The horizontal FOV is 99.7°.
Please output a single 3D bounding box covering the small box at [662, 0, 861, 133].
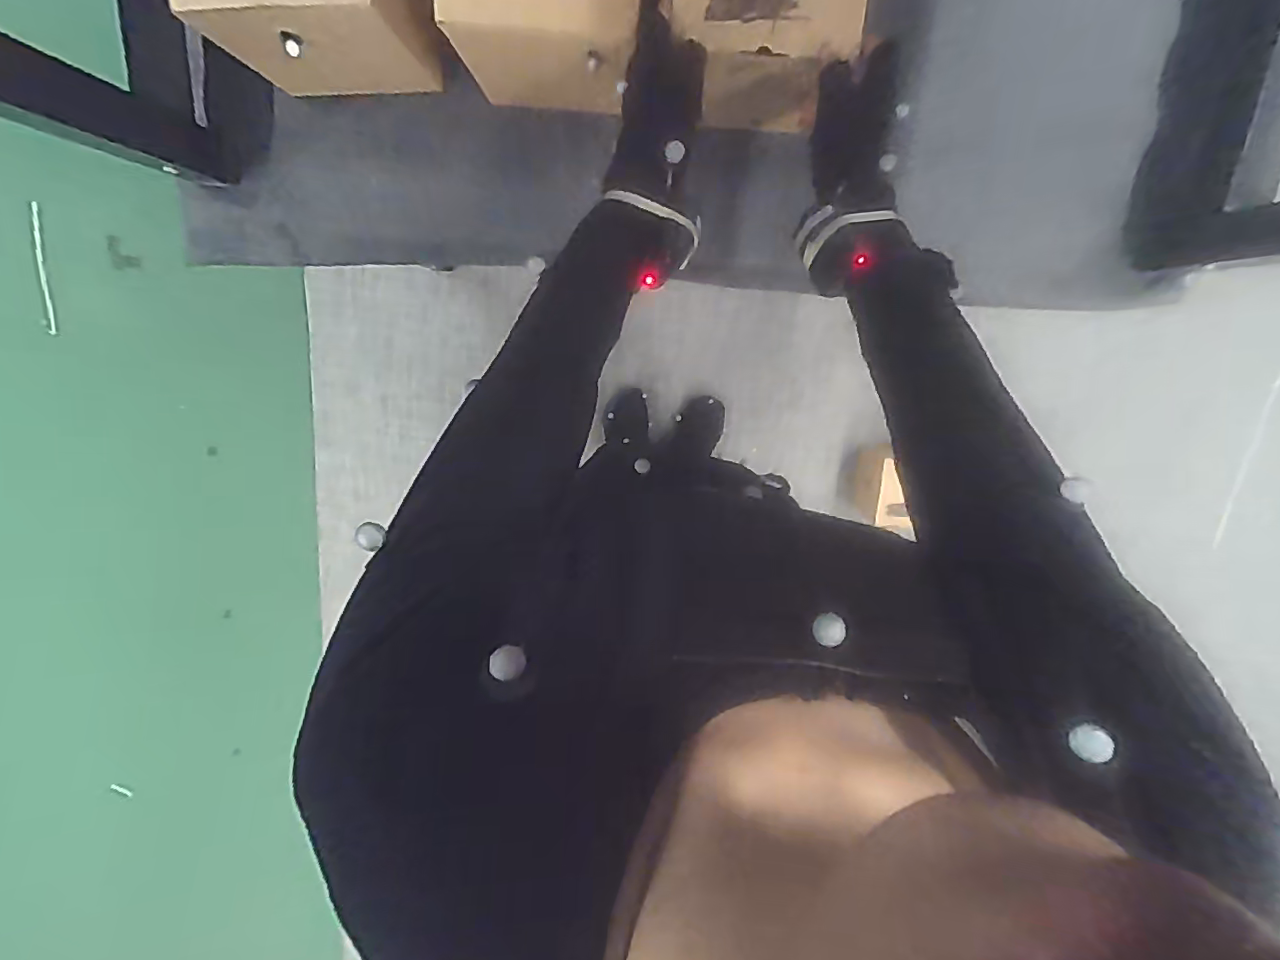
[{"bbox_3d":[0.110,-0.462,0.522,0.168,0.176,0.179,4,104,0],"label":"small box"}]
